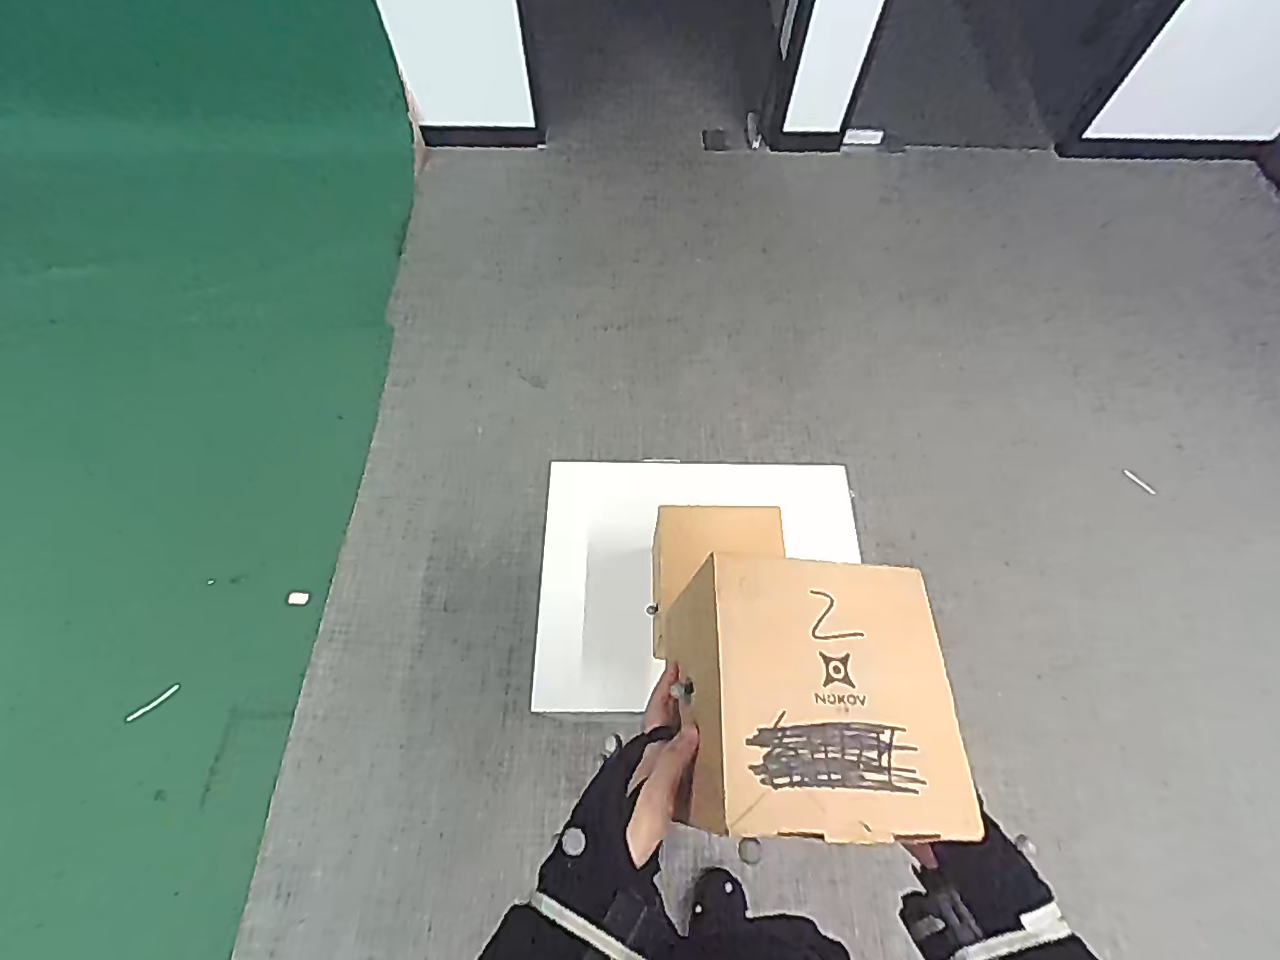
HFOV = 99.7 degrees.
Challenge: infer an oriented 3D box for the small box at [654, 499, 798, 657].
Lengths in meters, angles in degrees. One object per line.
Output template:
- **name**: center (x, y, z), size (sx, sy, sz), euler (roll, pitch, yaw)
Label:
- **small box**: center (0.105, 0.141, 0.750), size (0.168, 0.176, 0.179), euler (0, 64, -1)
